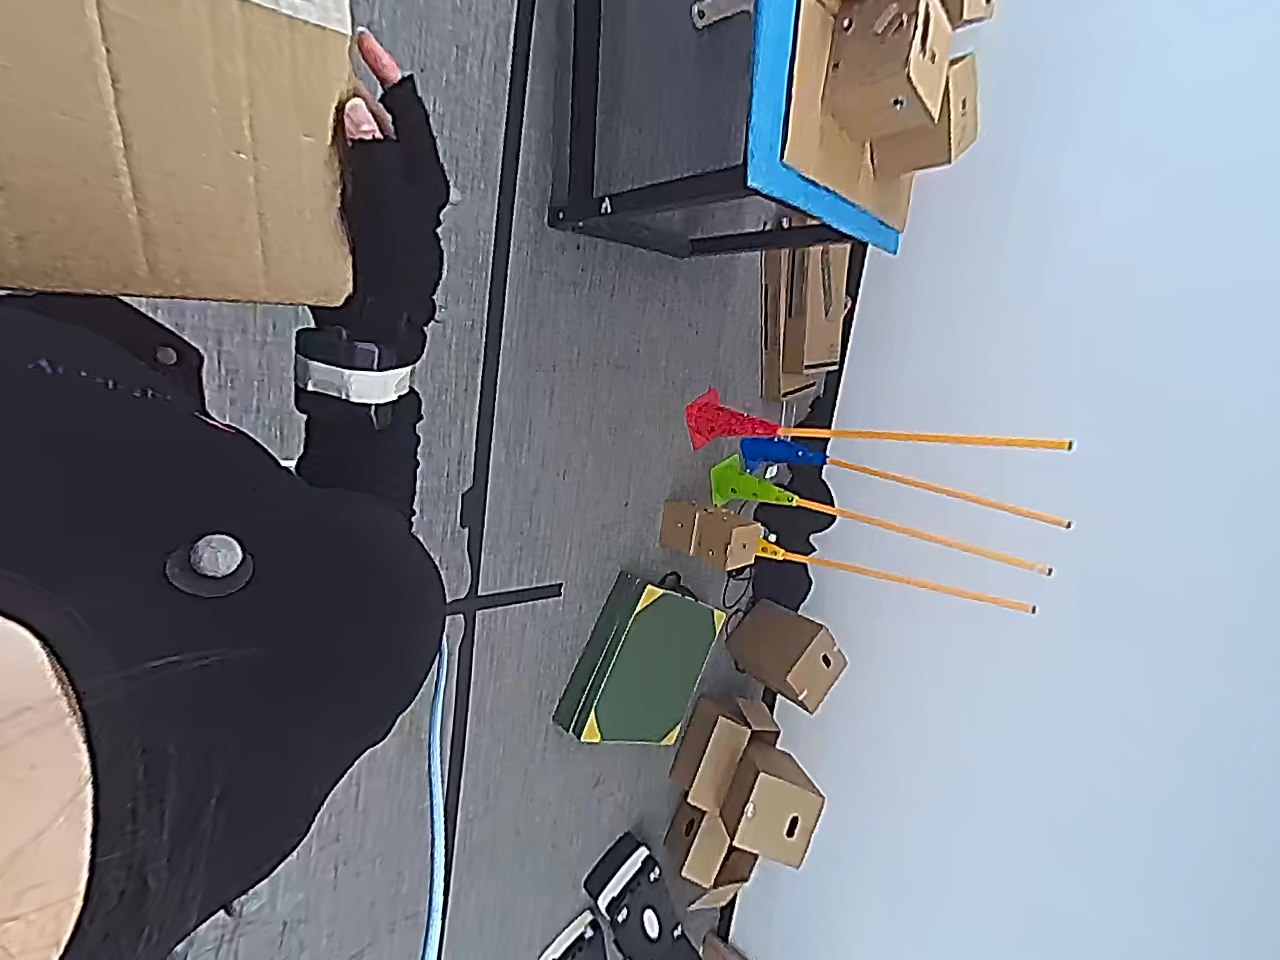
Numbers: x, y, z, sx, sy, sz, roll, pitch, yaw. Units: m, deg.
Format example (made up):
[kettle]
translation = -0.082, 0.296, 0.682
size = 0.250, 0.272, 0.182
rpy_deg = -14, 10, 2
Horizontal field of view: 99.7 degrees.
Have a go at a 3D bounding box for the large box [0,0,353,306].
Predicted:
[large box]
translation = -0.404, -0.292, 0.261
size = 0.408, 0.320, 0.320
rpy_deg = -11, 129, -40
